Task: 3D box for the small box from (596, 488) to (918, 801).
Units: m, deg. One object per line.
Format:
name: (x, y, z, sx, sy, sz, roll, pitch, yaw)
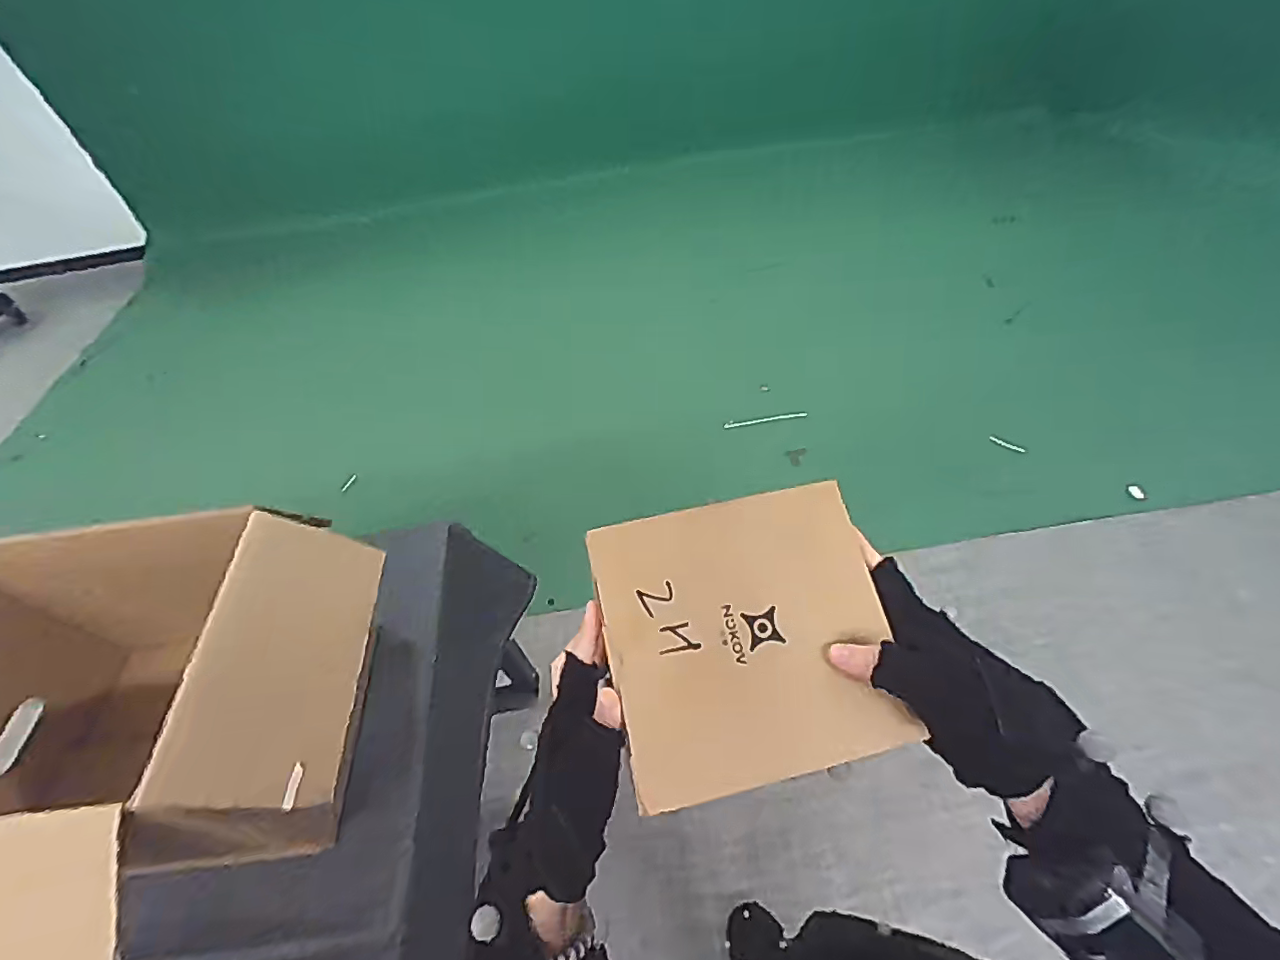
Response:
small box: (0.064, 0.121, 0.414, 0.179, 0.176, 0.168, -10, 69, -7)
